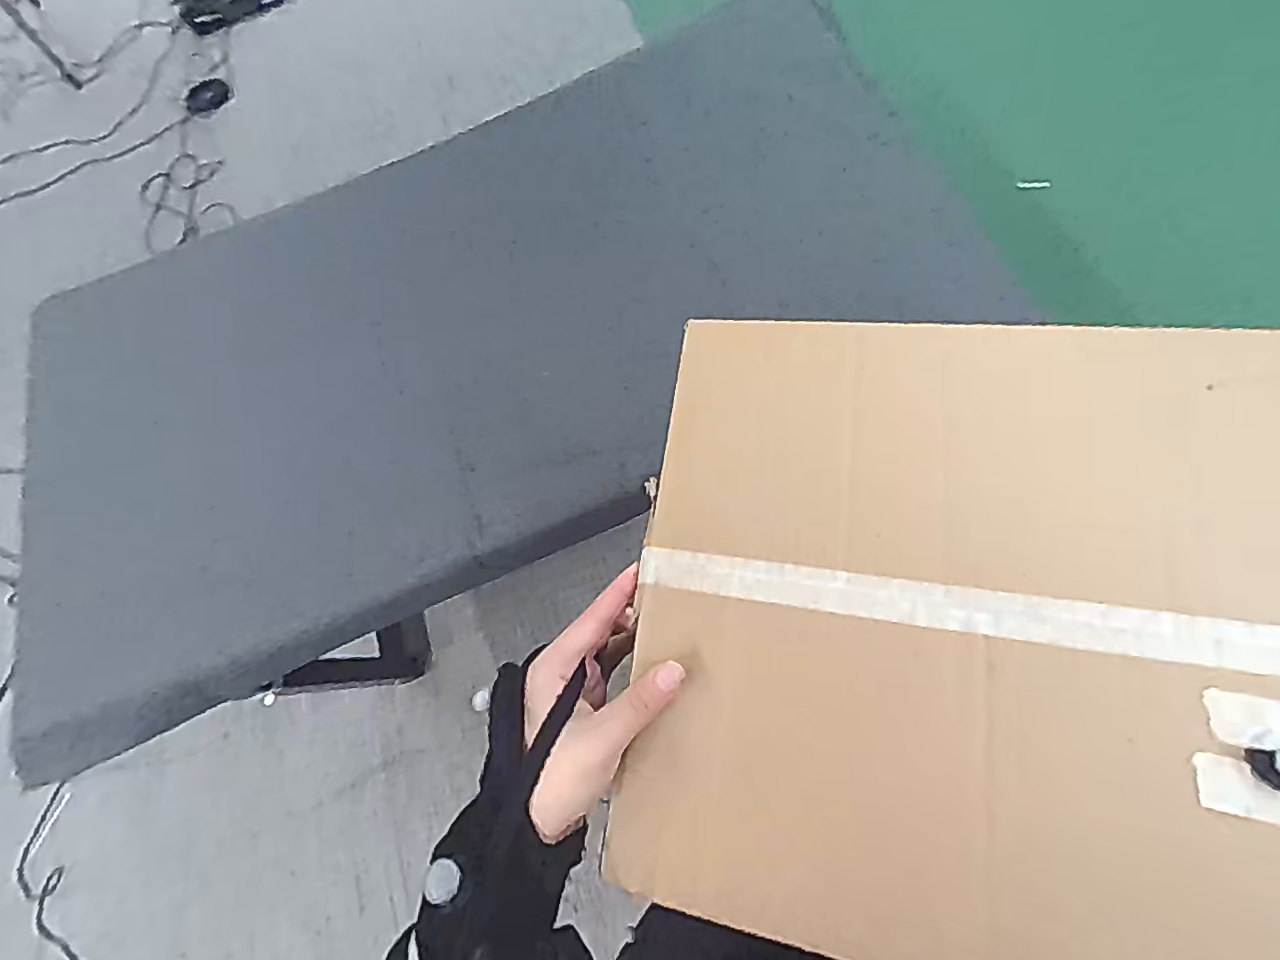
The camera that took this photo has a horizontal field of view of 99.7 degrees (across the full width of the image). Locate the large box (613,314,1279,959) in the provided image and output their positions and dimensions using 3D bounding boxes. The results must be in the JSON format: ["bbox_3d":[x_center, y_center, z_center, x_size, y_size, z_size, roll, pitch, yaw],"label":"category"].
[{"bbox_3d":[0.227,0.100,0.399,0.408,0.320,0.320,5,73,15],"label":"large box"}]
